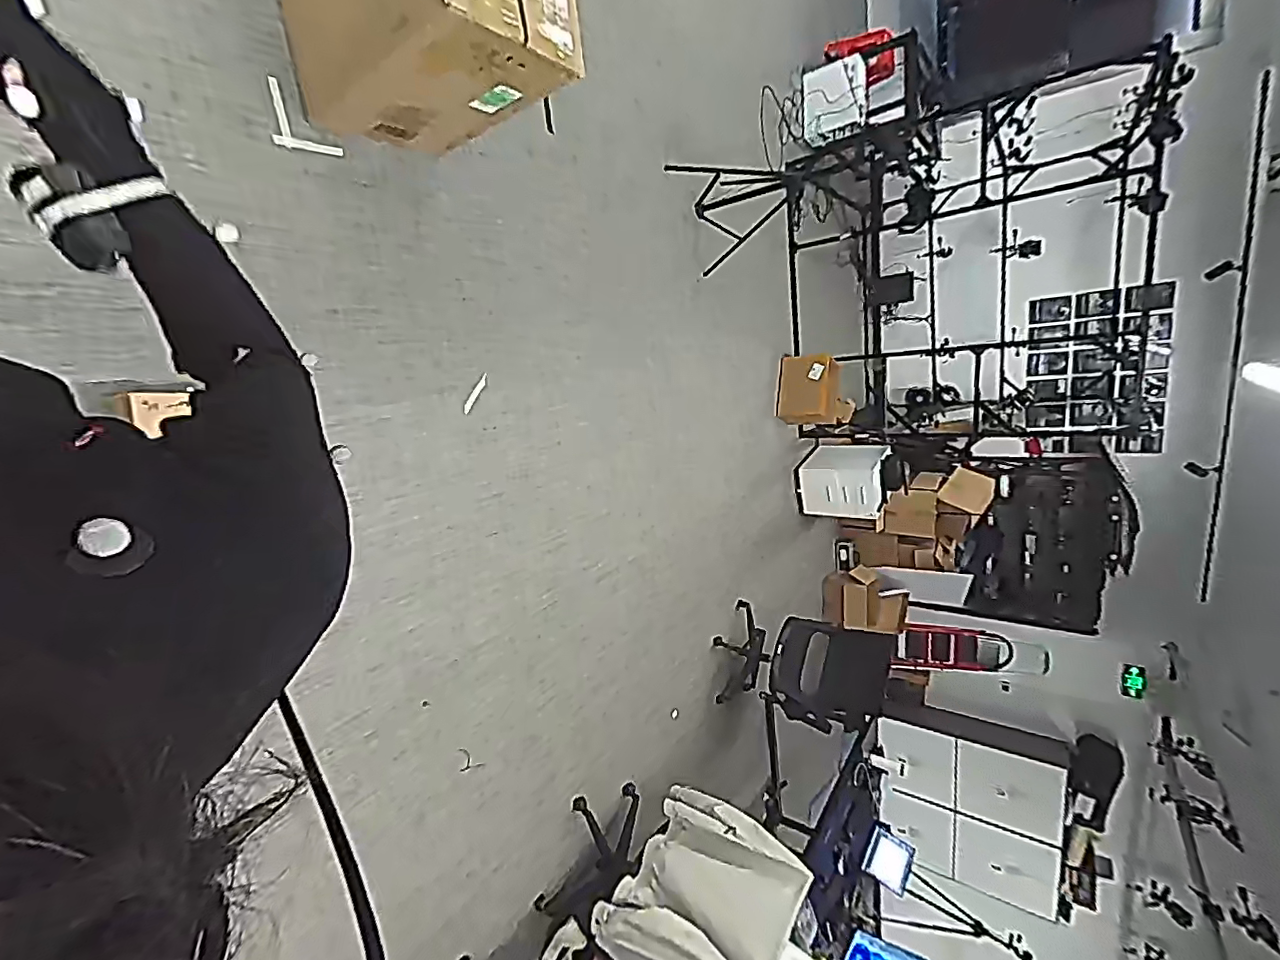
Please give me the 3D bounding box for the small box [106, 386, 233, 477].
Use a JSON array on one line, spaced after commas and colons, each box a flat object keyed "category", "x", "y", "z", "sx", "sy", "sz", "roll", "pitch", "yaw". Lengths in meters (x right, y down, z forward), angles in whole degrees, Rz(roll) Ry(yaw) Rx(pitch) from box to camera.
[{"category": "small box", "x": -0.997, "y": -0.106, "z": 1.147, "sx": 0.168, "sy": 0.176, "sz": 0.179, "roll": -11, "pitch": 102, "yaw": -53}]
